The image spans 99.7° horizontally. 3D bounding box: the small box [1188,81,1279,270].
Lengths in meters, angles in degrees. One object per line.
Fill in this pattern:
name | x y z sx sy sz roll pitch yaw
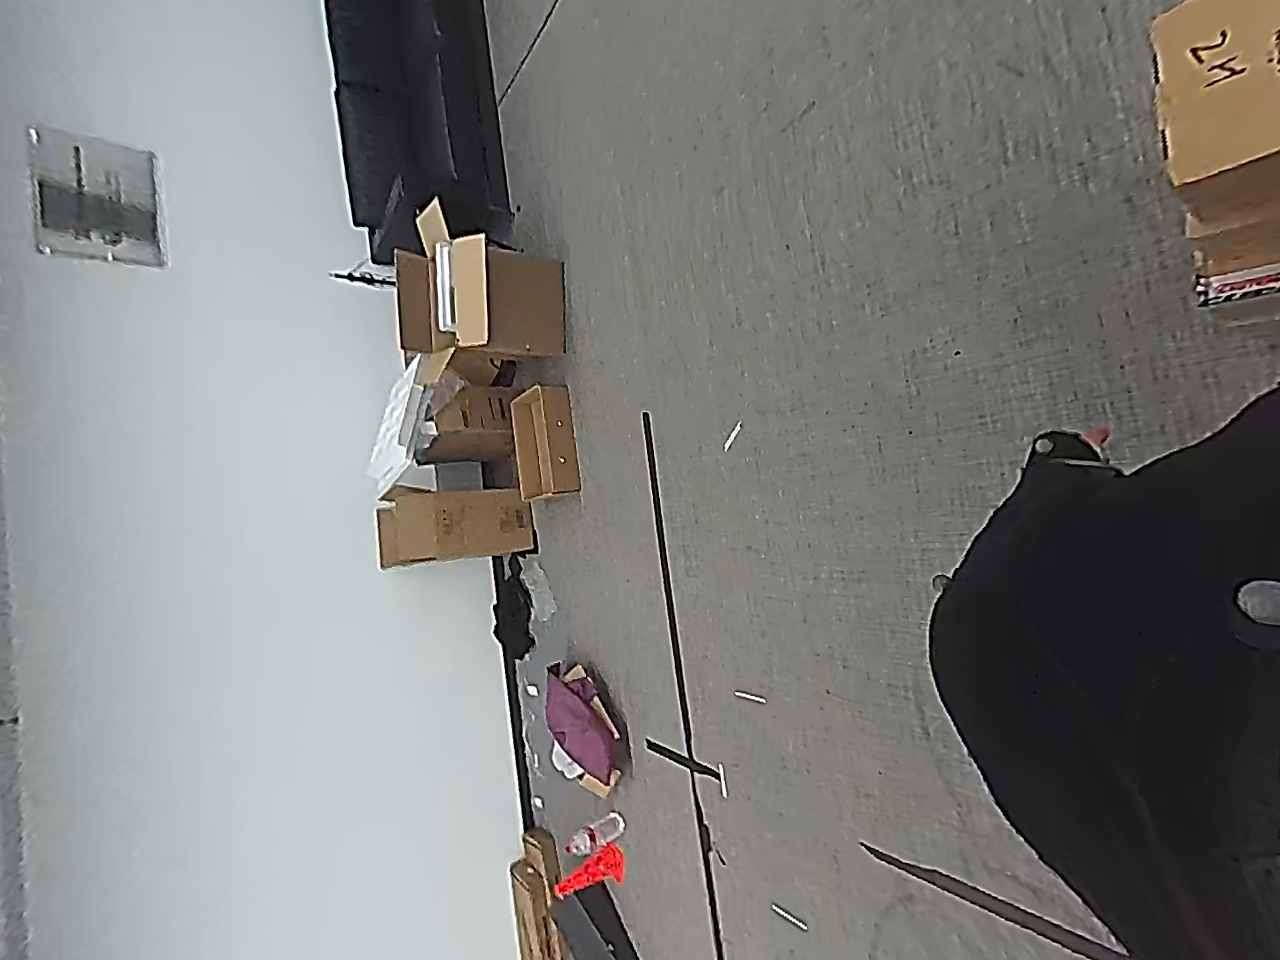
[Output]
small box | 0.759 -0.350 0.610 0.179 0.176 0.168 2 97 55
